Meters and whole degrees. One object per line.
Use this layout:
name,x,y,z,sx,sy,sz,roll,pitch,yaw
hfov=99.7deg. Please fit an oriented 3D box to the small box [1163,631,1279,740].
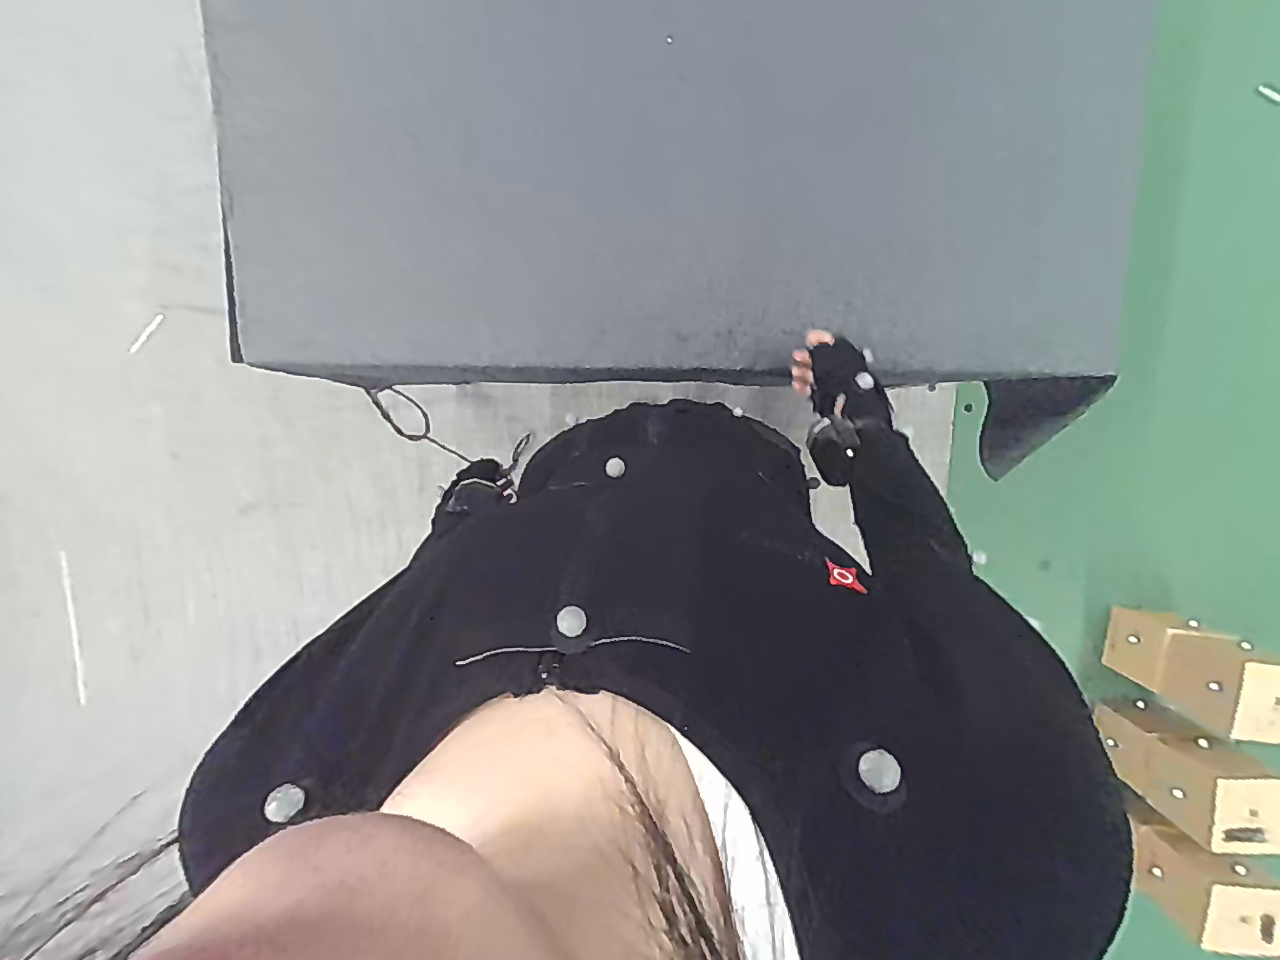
small box,1.350,0.459,1.225,0.168,0.176,0.179,5,96,2

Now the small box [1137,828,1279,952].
small box,1.352,0.964,1.284,0.179,0.176,0.168,3,97,2

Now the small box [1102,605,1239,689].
small box,1.347,0.431,1.388,0.179,0.176,0.168,6,96,1

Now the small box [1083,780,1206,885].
small box,1.336,0.944,1.446,0.168,0.176,0.179,5,97,2
